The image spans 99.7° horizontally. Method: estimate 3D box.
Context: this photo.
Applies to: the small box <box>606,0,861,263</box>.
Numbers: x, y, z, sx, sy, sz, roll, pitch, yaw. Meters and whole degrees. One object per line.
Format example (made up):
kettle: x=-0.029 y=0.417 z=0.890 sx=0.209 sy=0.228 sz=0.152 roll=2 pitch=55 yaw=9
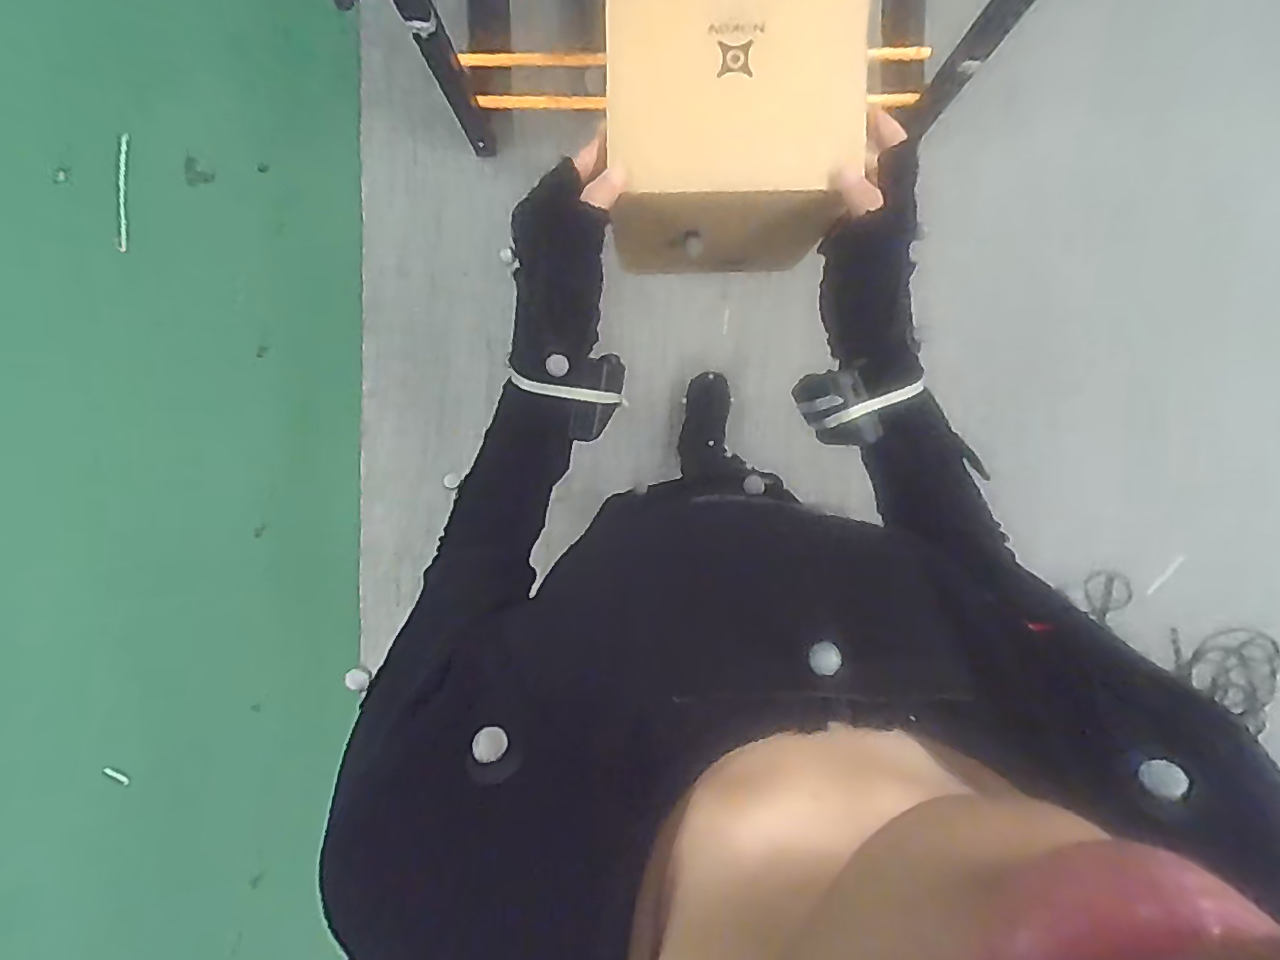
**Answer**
small box: x=0.063 y=-0.283 z=0.430 sx=0.168 sy=0.176 sz=0.179 roll=-1 pitch=93 yaw=1
